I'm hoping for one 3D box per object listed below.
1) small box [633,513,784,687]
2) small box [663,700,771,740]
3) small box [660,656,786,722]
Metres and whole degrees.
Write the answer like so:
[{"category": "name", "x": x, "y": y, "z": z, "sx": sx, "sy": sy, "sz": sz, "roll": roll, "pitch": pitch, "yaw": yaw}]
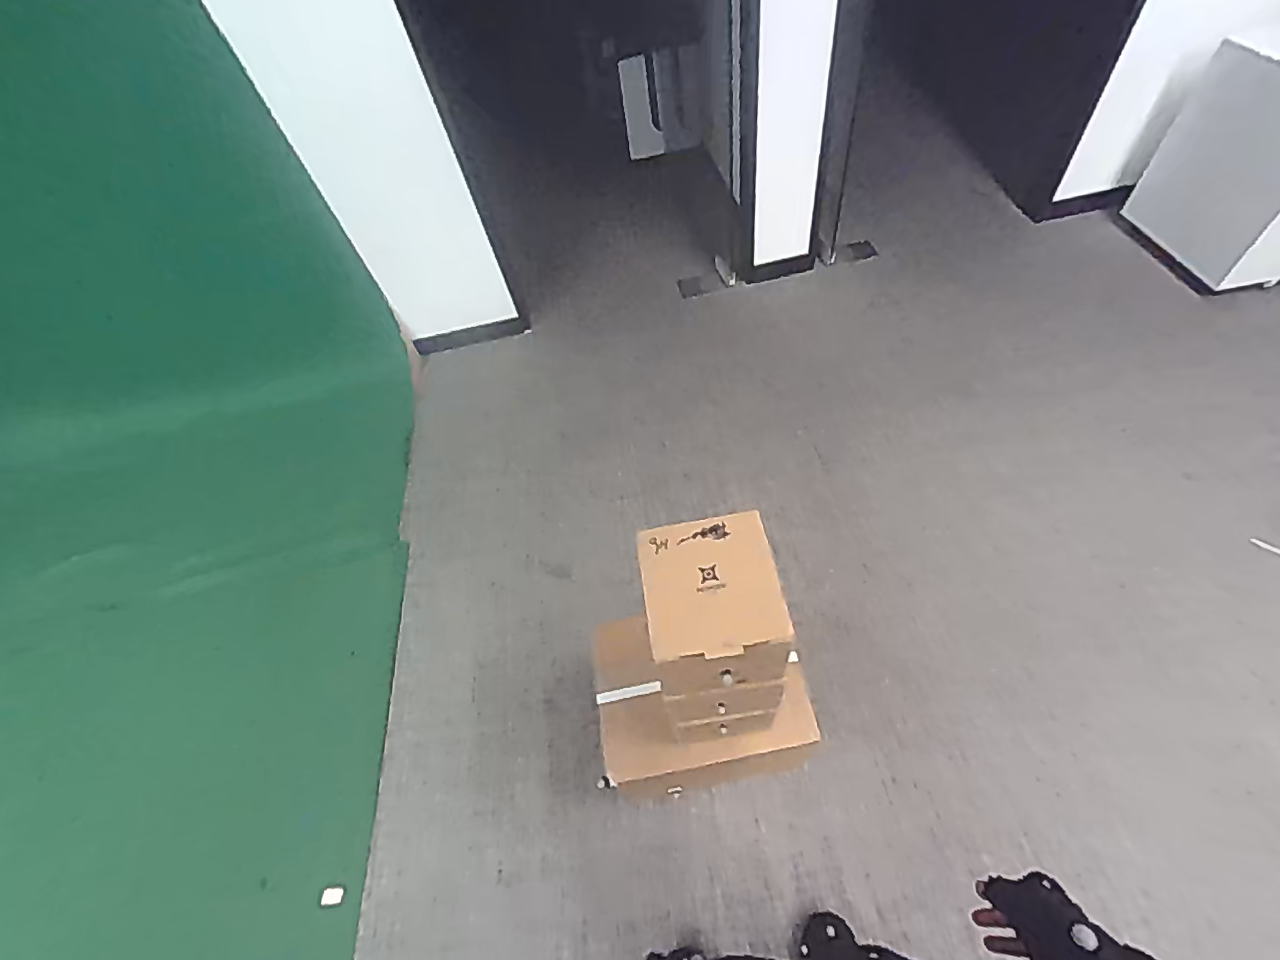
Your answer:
[{"category": "small box", "x": 0.091, "y": 0.170, "z": 0.729, "sx": 0.168, "sy": 0.176, "sz": 0.179, "roll": -10, "pitch": 56, "yaw": 4}, {"category": "small box", "x": 0.130, "y": 0.365, "z": 0.990, "sx": 0.179, "sy": 0.176, "sz": 0.168, "roll": -10, "pitch": 56, "yaw": 1}, {"category": "small box", "x": 0.115, "y": 0.270, "z": 0.856, "sx": 0.179, "sy": 0.176, "sz": 0.168, "roll": -12, "pitch": 55, "yaw": 1}]
